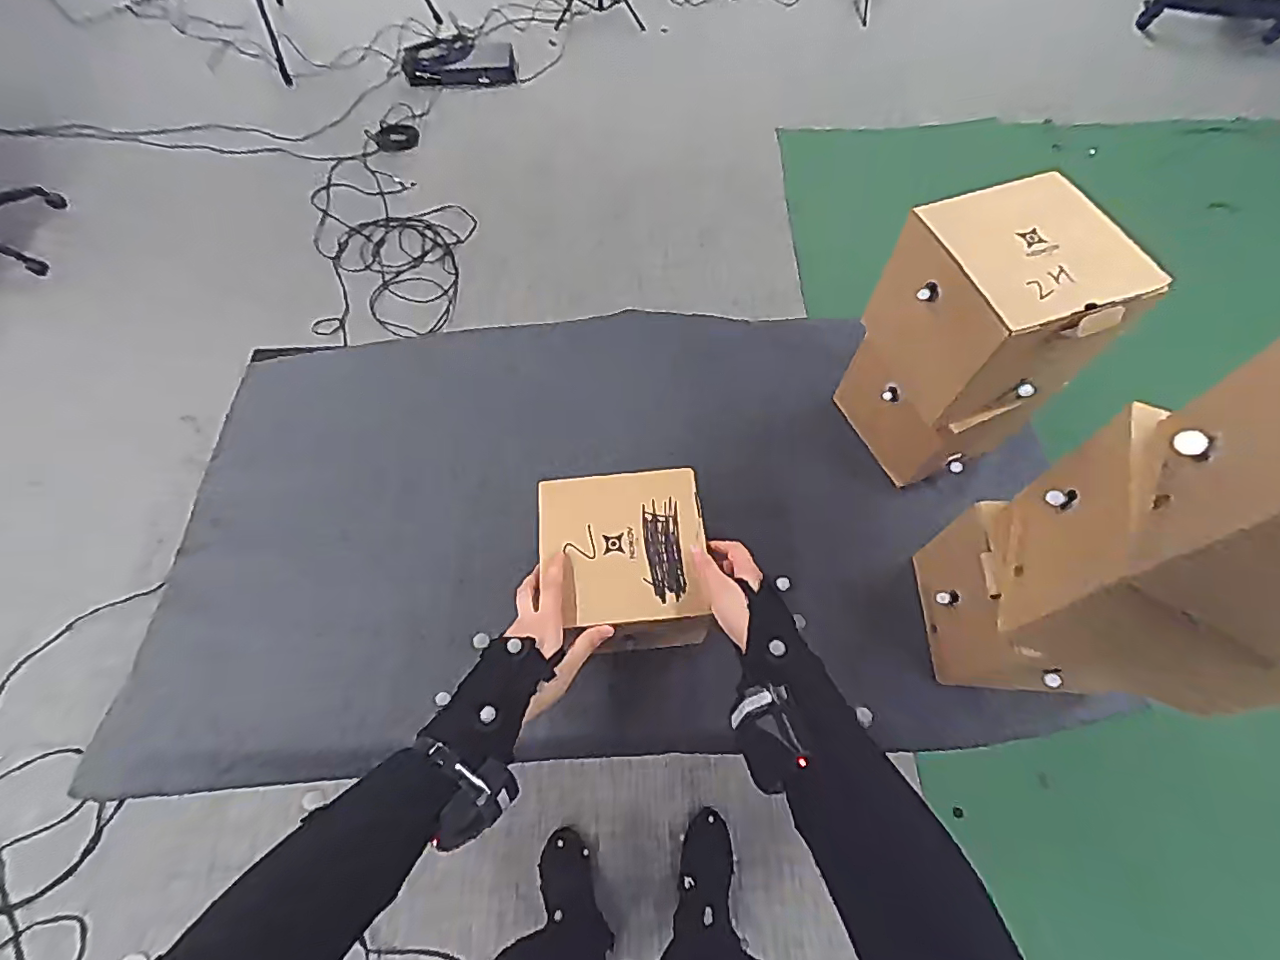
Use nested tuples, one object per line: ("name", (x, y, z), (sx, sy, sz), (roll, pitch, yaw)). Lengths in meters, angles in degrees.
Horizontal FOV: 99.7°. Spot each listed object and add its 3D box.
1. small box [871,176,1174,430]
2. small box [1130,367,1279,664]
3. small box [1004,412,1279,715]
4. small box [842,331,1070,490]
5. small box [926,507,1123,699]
("small box", (0.383, -0.184, 0.586), (0.168, 0.176, 0.179), (-17, 65, -4))
("small box", (0.440, 0.019, 0.297), (0.179, 0.176, 0.168), (31, 65, 17))
("small box", (0.444, 0.078, 0.452), (0.179, 0.176, 0.168), (22, 63, 12))
("small box", (0.406, -0.114, 0.735), (0.168, 0.176, 0.179), (-23, 67, -7))
("small box", (0.444, 0.143, 0.603), (0.179, 0.176, 0.168), (3, 61, 3))
